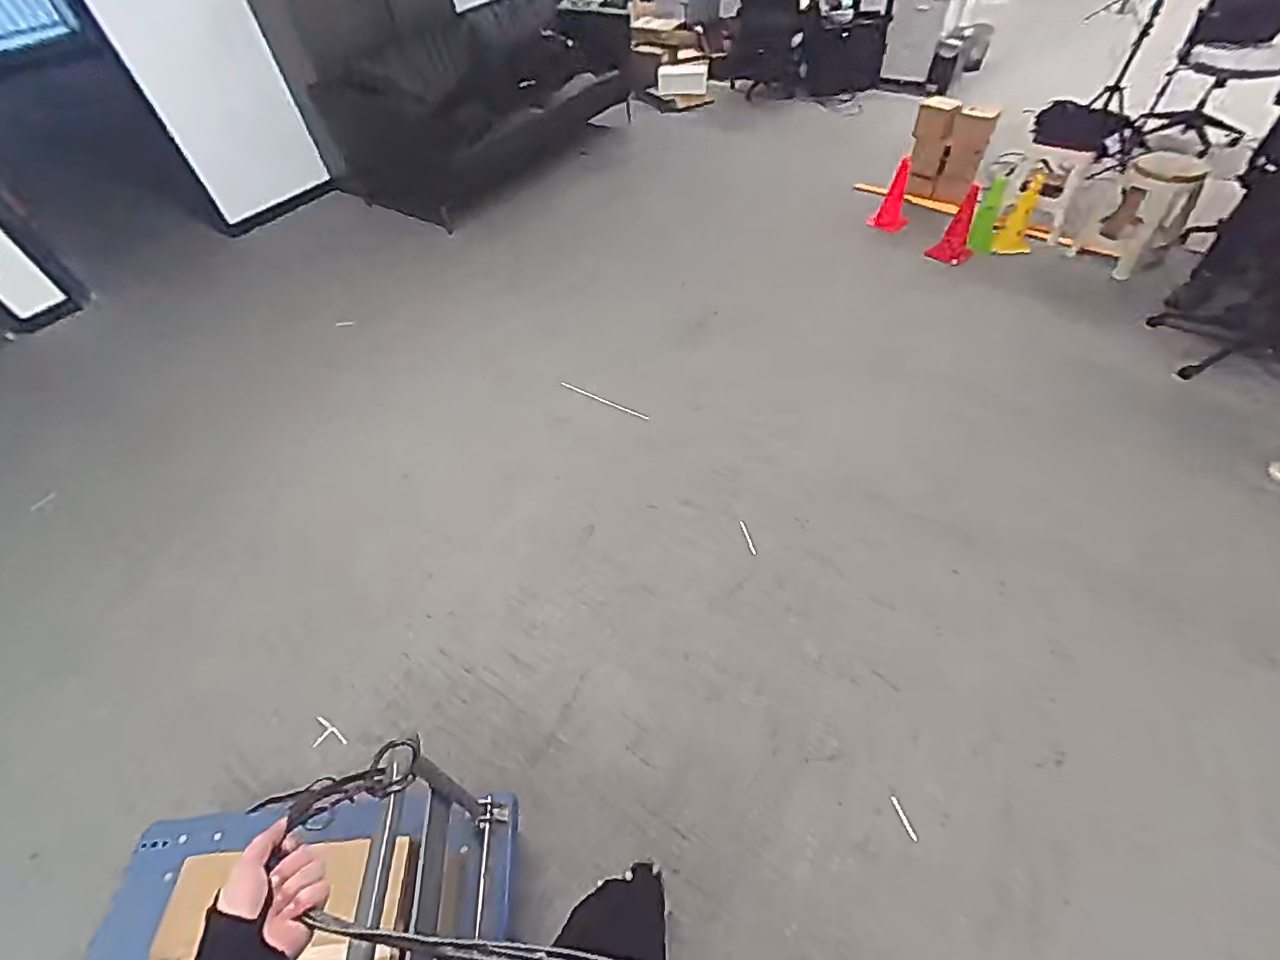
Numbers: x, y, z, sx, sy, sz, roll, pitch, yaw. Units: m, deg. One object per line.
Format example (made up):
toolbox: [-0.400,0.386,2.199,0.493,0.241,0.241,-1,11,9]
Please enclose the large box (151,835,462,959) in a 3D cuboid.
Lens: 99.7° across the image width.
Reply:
large box: [-0.578,0.864,0.976,0.408,0.320,0.320,-6,49,0]
